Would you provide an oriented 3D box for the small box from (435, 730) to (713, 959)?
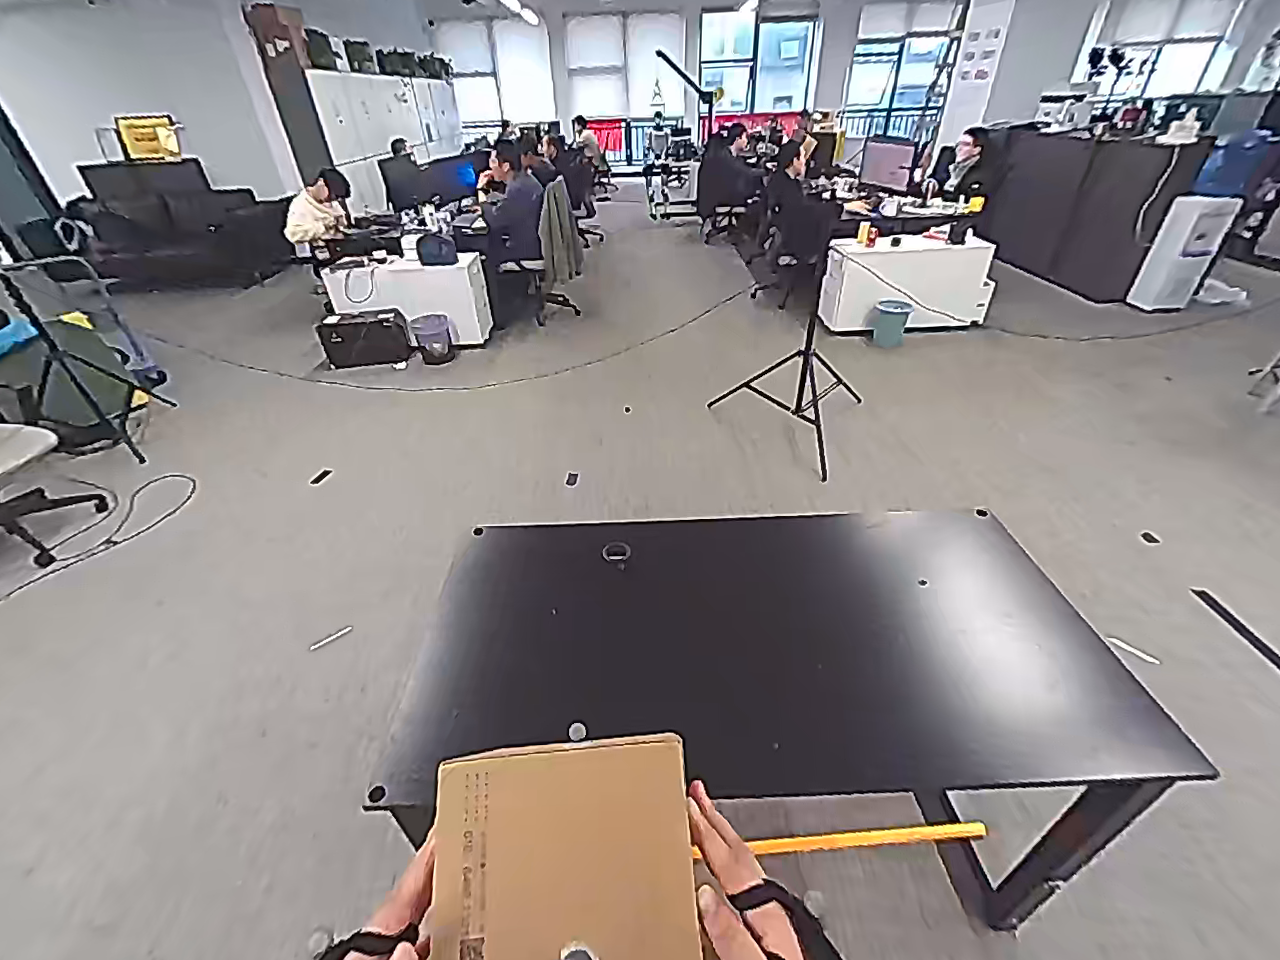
[{"bbox_3d":[-0.044,0.287,0.406,0.176,0.179,0.168,-4,67,-2],"label":"small box"}]
